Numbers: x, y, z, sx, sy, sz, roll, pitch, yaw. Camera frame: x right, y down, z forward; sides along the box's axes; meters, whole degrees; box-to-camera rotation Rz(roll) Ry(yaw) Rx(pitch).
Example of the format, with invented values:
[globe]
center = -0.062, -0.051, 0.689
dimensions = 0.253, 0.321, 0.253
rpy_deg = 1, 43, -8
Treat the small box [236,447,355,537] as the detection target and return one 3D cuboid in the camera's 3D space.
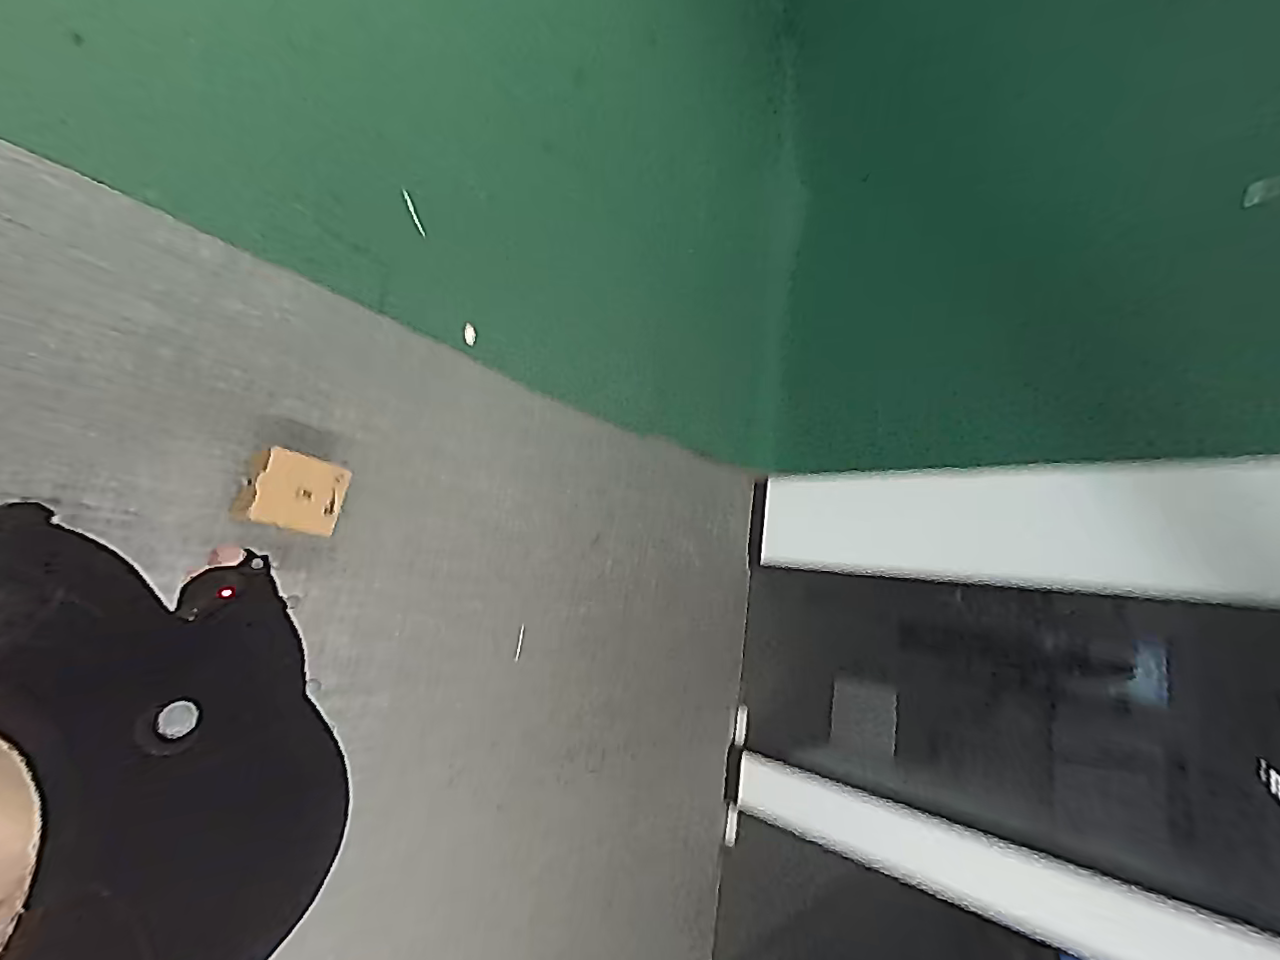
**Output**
[small box]
center = -0.818, 0.034, 1.281
dimensions = 0.179, 0.176, 0.168
rpy_deg = 27, 69, -43
